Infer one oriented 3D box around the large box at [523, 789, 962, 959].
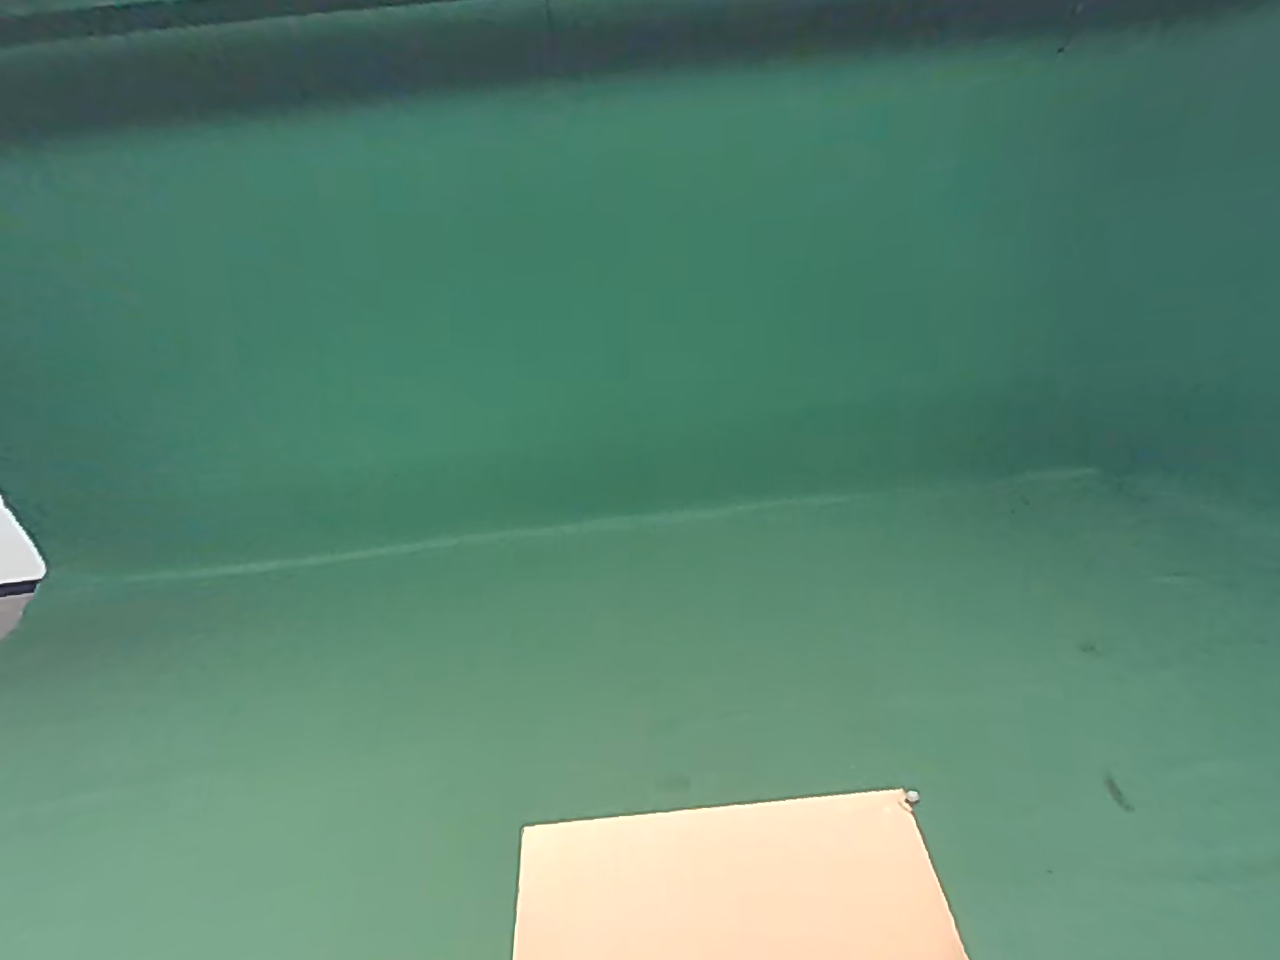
[{"bbox_3d":[0.098,0.566,0.571,0.408,0.320,0.320,-5,45,-2],"label":"large box"}]
